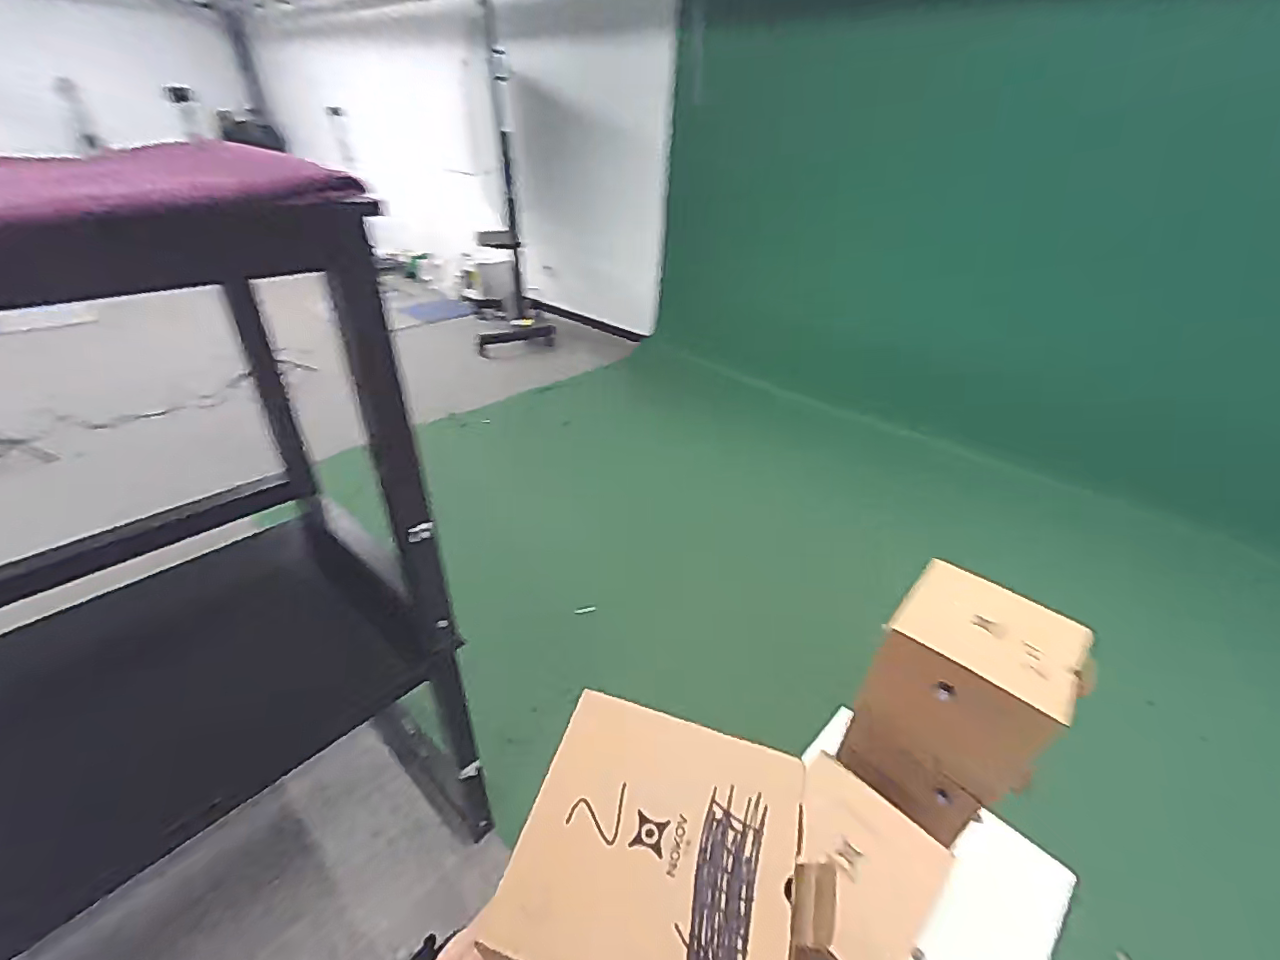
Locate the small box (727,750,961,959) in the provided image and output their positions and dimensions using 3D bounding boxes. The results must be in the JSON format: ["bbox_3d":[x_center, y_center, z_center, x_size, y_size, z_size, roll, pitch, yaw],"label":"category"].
[{"bbox_3d":[0.212,0.456,0.598,0.179,0.176,0.168,-25,43,-37],"label":"small box"}]

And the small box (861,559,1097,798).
[{"bbox_3d":[0.397,0.234,0.654,0.179,0.176,0.168,30,42,33],"label":"small box"}]

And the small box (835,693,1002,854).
[{"bbox_3d":[0.397,0.371,0.745,0.168,0.176,0.179,-23,42,-34],"label":"small box"}]
